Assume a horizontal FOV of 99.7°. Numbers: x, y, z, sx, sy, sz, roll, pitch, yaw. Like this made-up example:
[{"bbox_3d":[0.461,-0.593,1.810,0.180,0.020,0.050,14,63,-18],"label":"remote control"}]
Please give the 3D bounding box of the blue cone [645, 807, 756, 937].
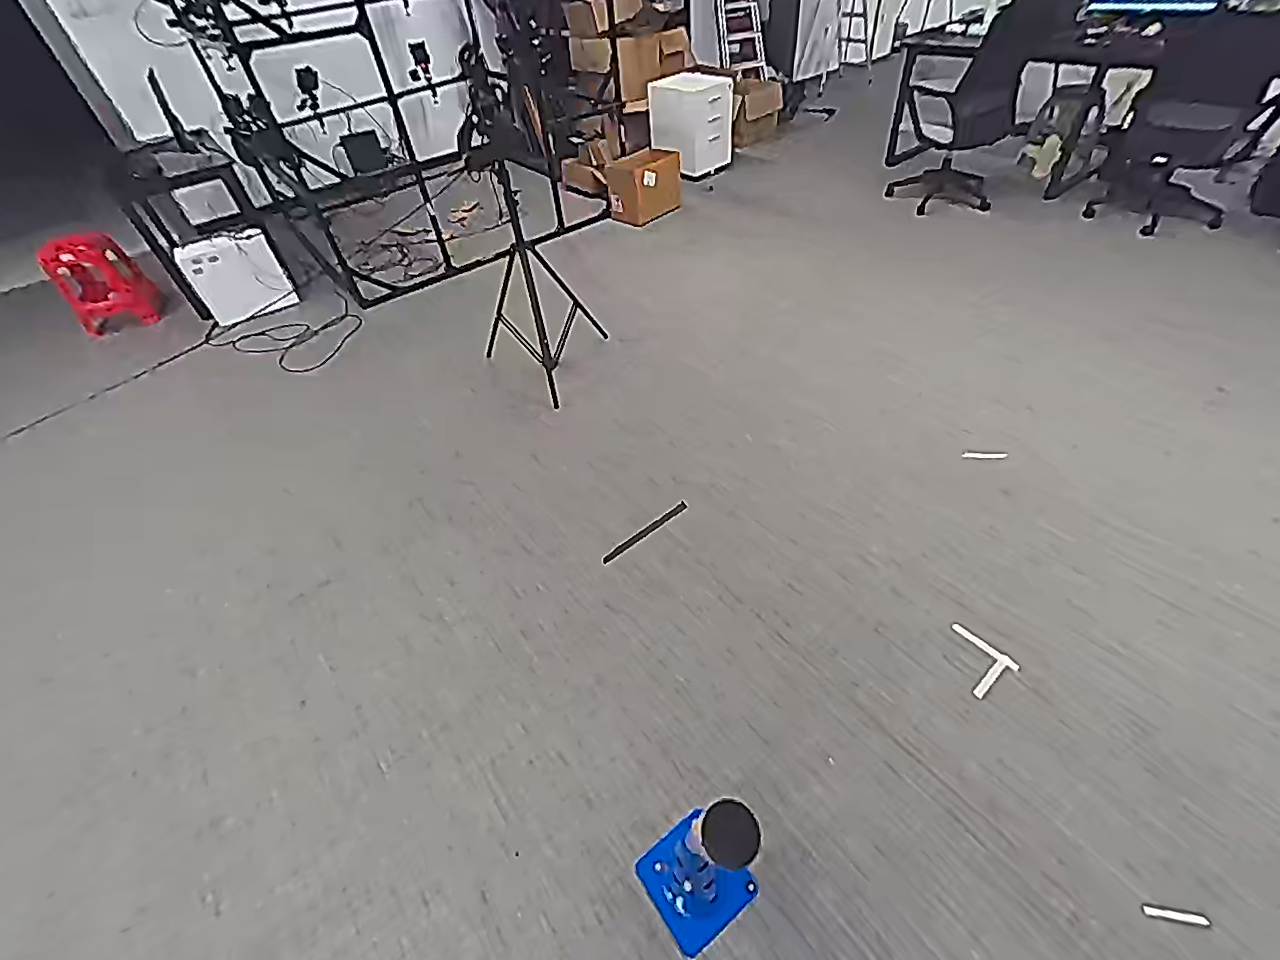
[{"bbox_3d":[0.112,0.725,1.050,0.192,0.380,0.193,-28,49,-20],"label":"blue cone"}]
